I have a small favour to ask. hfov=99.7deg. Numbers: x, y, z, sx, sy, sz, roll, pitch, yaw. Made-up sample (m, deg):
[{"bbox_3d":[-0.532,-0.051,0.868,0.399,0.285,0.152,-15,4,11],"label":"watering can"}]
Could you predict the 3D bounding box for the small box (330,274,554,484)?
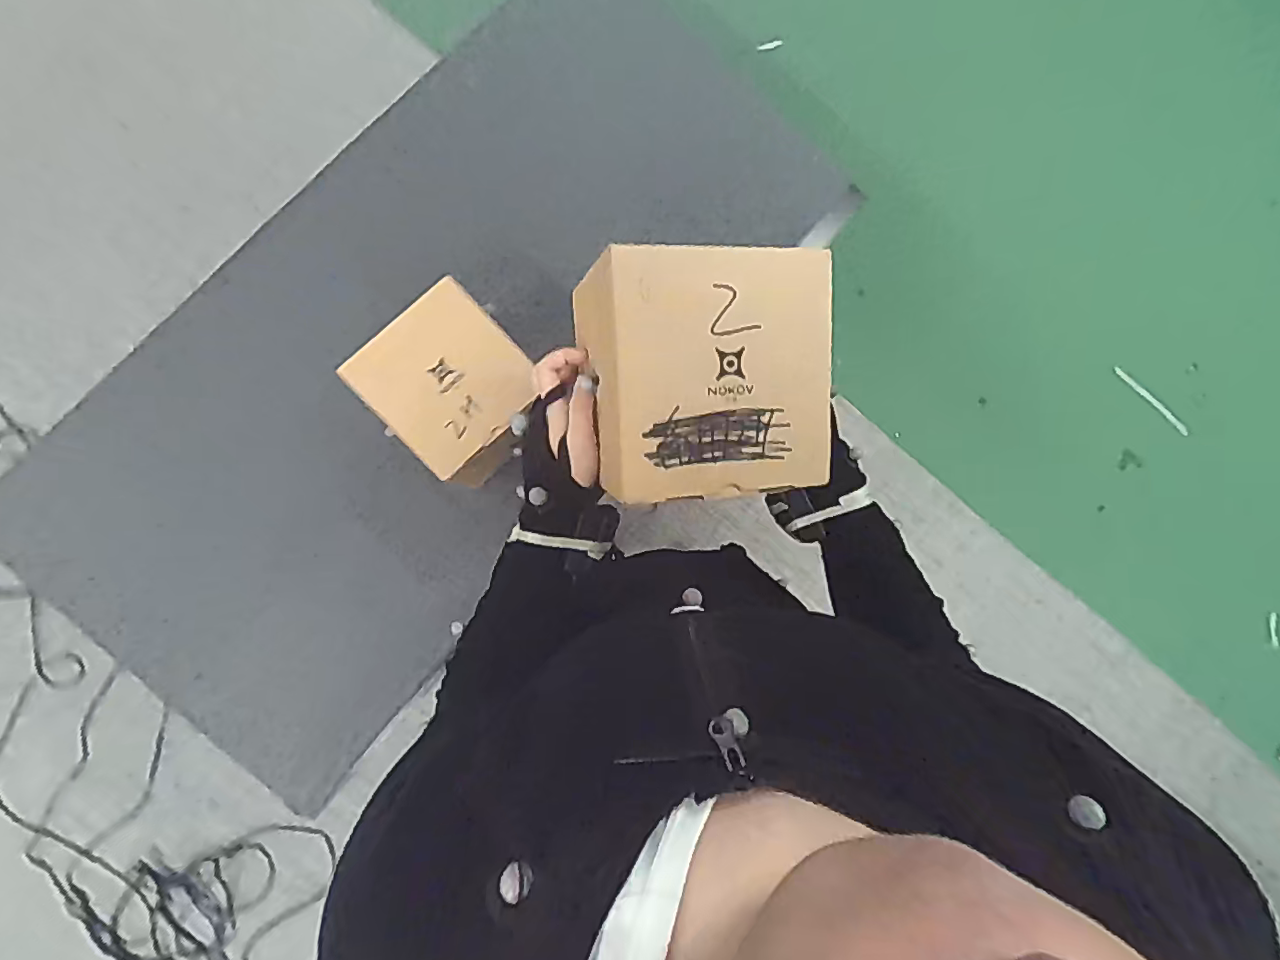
[{"bbox_3d":[-0.226,-0.108,0.671,0.168,0.176,0.179,-44,91,-6],"label":"small box"}]
